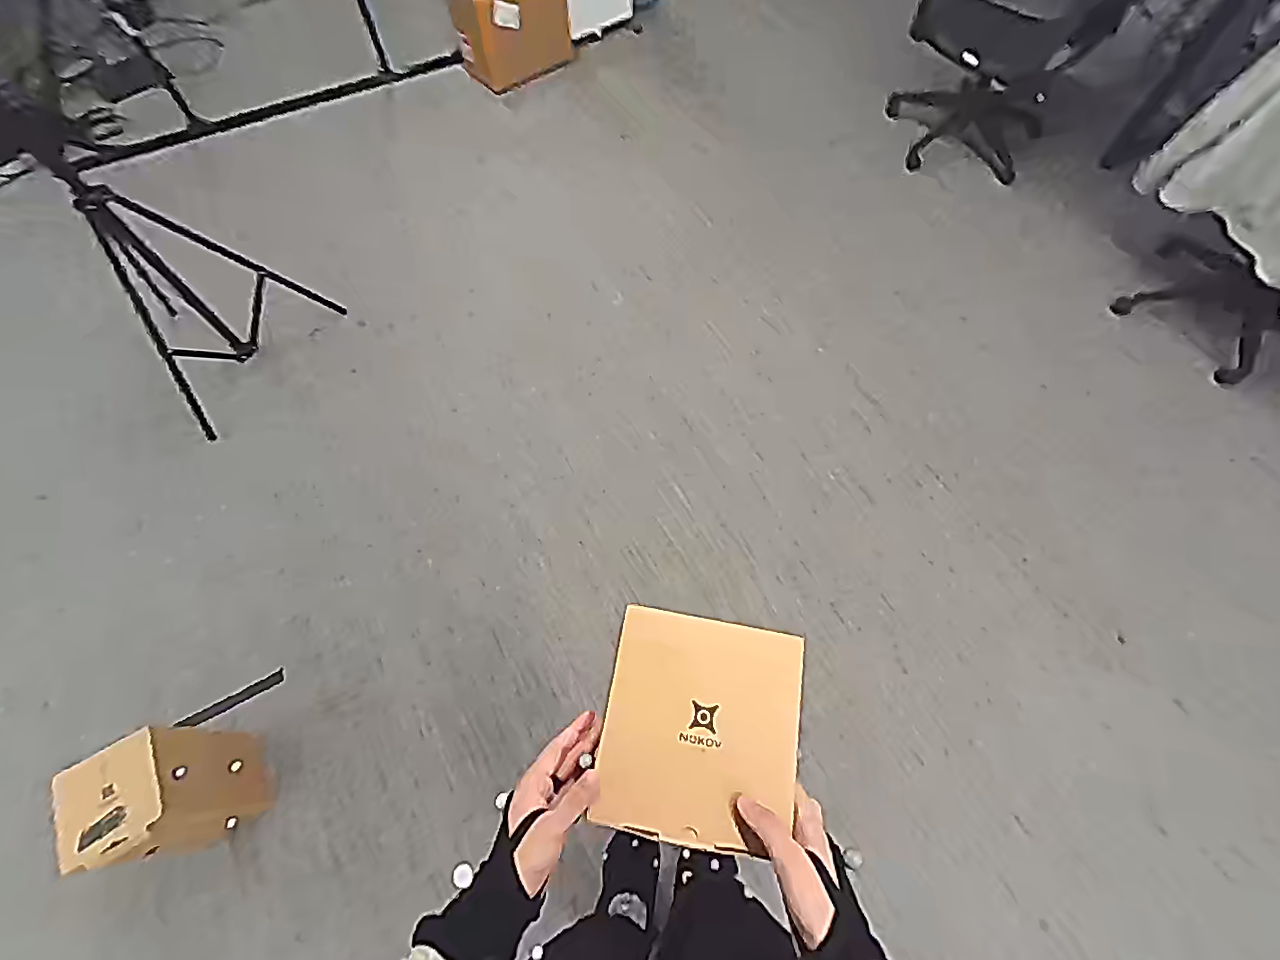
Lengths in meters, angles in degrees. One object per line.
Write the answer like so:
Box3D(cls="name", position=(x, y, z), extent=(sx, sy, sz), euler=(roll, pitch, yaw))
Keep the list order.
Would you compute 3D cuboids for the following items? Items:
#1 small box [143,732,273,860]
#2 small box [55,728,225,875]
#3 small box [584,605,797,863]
Box3D(cls="small box", position=(-0.945, 0.677, 1.178), extent=(0.168, 0.176, 0.179), euler=(-30, 66, -15))
Box3D(cls="small box", position=(-0.941, 0.600, 1.032), extent=(0.168, 0.176, 0.179), euler=(-29, 66, -14))
Box3D(cls="small box", position=(0.042, 0.237, 0.527), extent=(0.168, 0.176, 0.179), euler=(11, 66, 0))
